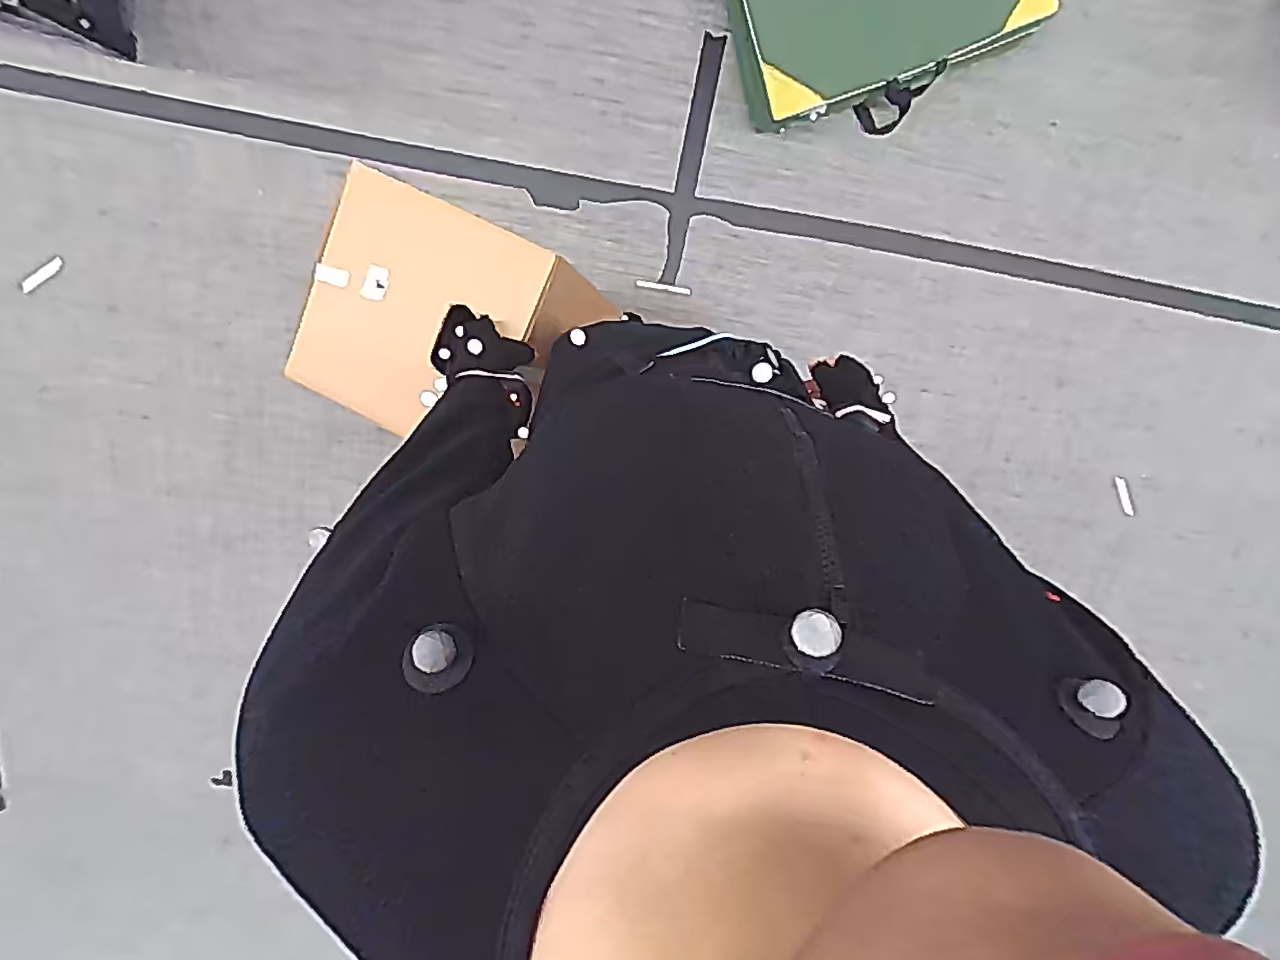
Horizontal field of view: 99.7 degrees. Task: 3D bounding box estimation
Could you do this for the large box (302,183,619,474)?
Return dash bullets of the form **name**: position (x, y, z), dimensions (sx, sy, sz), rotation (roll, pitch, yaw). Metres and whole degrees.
- **large box**: position (-0.271, -0.236, 0.931), dimensions (0.320, 0.408, 0.320), rotation (27, 101, 5)
